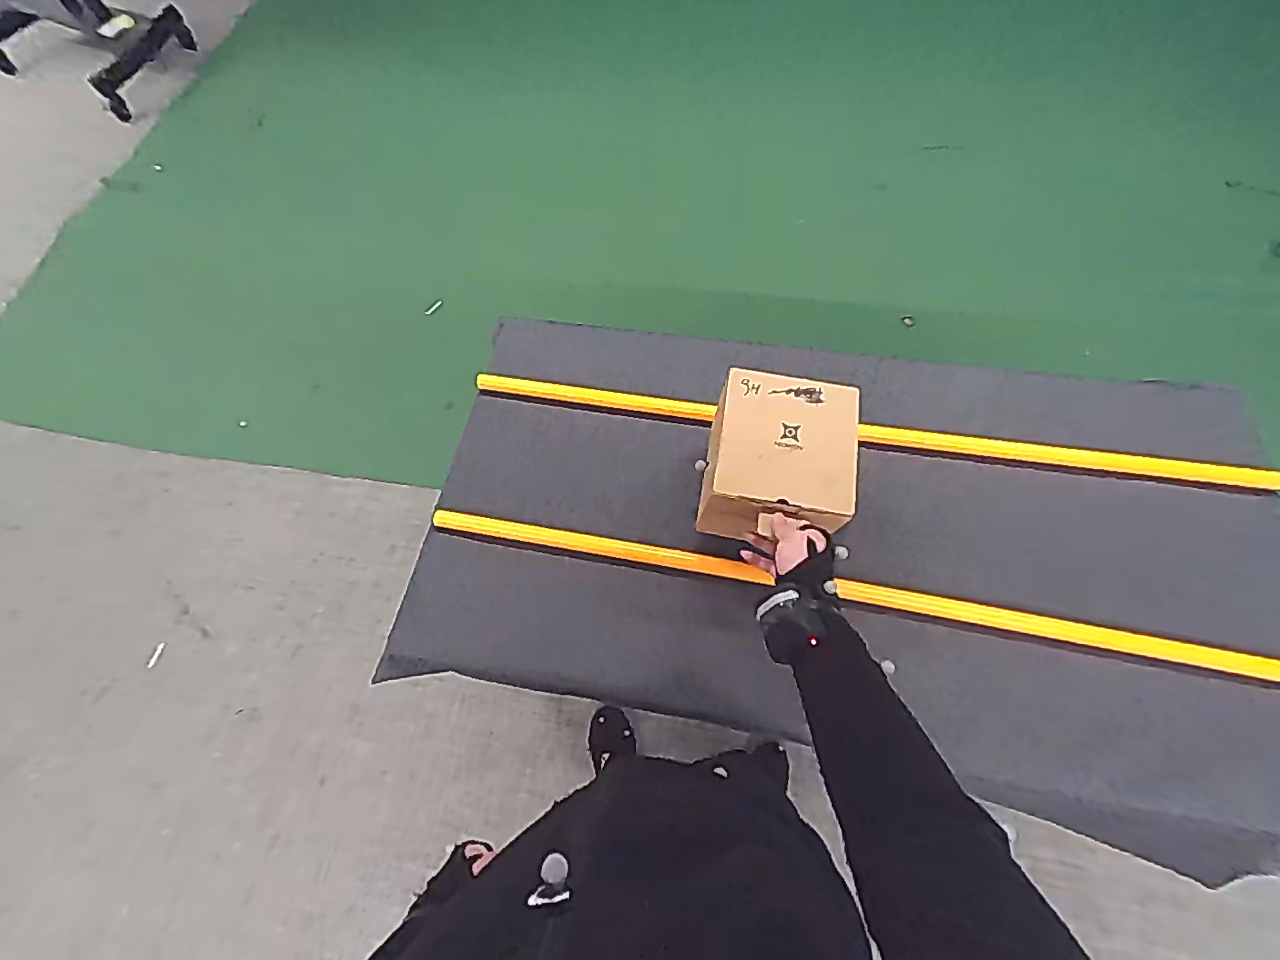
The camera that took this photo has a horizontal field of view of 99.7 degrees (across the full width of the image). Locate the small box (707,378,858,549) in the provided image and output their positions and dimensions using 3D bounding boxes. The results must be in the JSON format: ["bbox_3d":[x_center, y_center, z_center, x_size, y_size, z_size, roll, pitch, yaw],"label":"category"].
[{"bbox_3d":[0.183,-0.014,0.731,0.168,0.176,0.179,7,69,4],"label":"small box"}]
